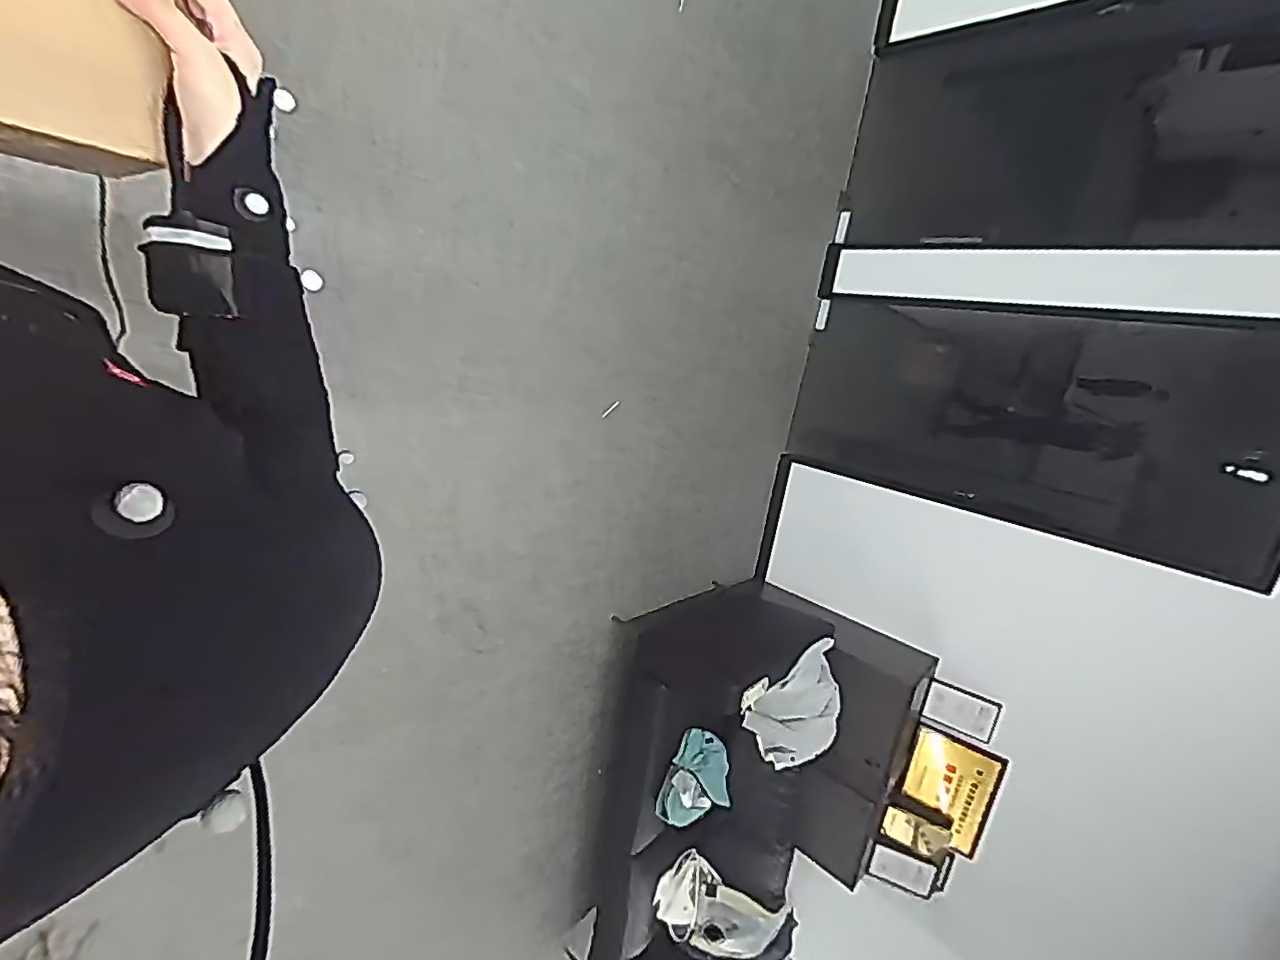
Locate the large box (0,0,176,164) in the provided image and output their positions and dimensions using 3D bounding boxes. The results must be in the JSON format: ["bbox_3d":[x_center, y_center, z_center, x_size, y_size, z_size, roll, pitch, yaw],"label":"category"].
[{"bbox_3d":[-0.546,-0.401,0.282,0.408,0.320,0.320,-9,116,-49],"label":"large box"}]
